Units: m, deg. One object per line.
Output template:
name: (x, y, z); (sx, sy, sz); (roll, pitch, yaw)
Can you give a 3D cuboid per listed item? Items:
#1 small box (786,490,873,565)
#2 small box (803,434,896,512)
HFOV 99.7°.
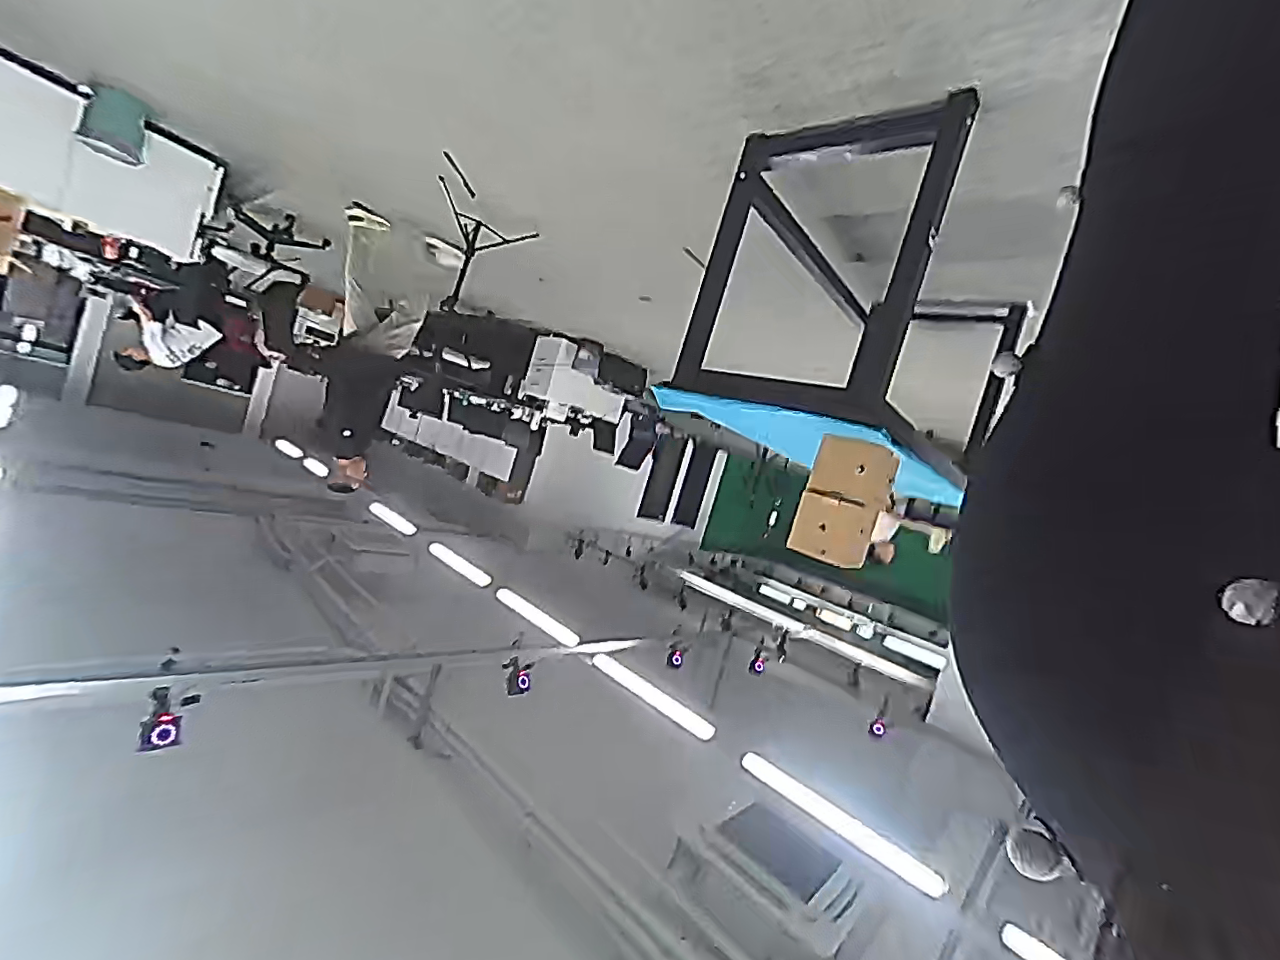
small box: (0.532, 0.137, 1.526); (0.168, 0.176, 0.179); (20, -174, 38)
small box: (0.588, -0.017, 1.522); (0.179, 0.176, 0.168); (19, -178, 40)
